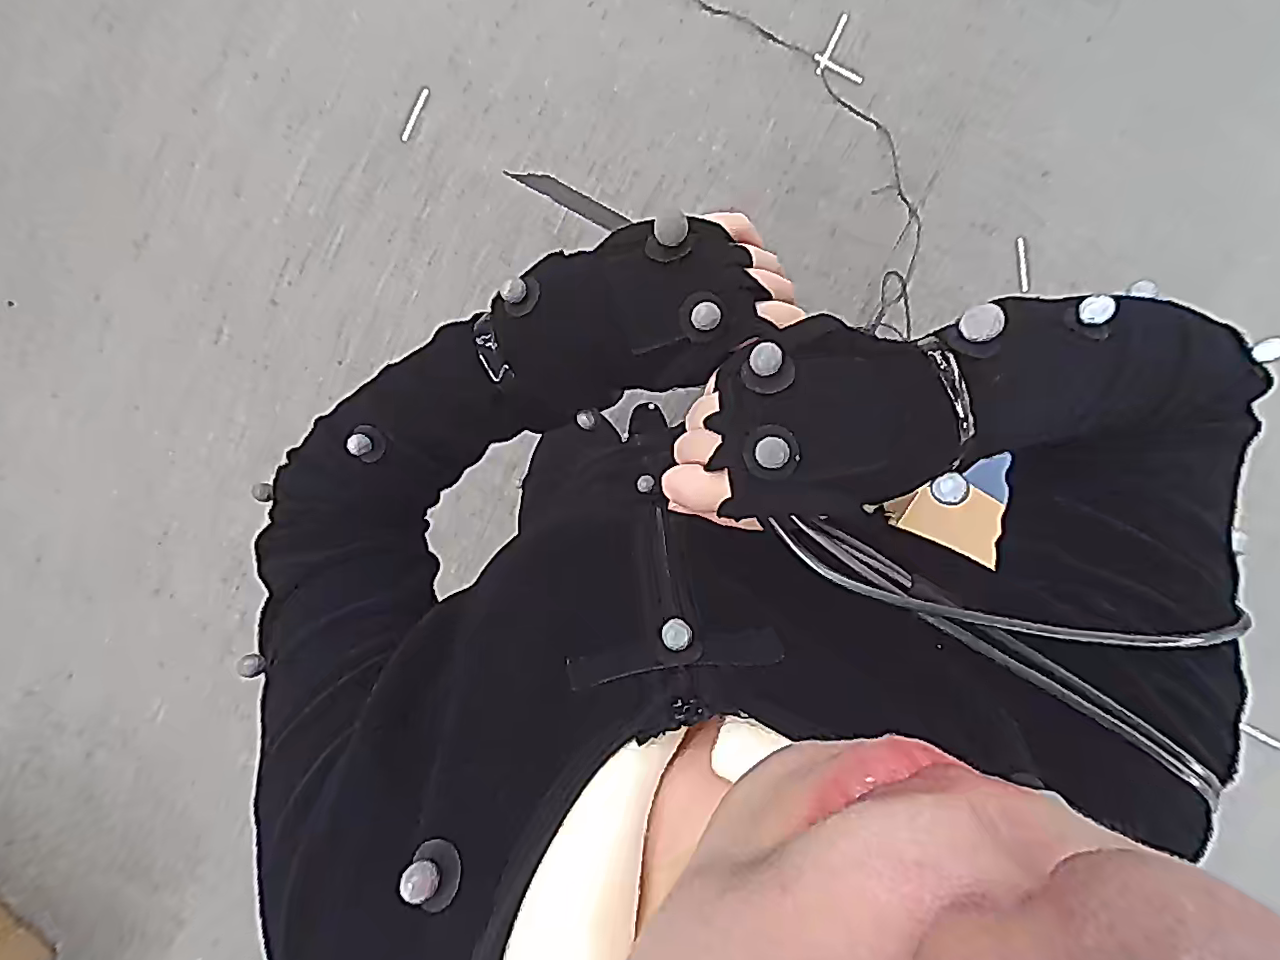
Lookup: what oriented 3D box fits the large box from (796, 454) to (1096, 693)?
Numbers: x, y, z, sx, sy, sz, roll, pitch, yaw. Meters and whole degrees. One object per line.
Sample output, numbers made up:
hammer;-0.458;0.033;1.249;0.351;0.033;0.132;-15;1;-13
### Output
large box;0.626;0.177;1.184;0.408;0.320;0.320;31;96;-4
